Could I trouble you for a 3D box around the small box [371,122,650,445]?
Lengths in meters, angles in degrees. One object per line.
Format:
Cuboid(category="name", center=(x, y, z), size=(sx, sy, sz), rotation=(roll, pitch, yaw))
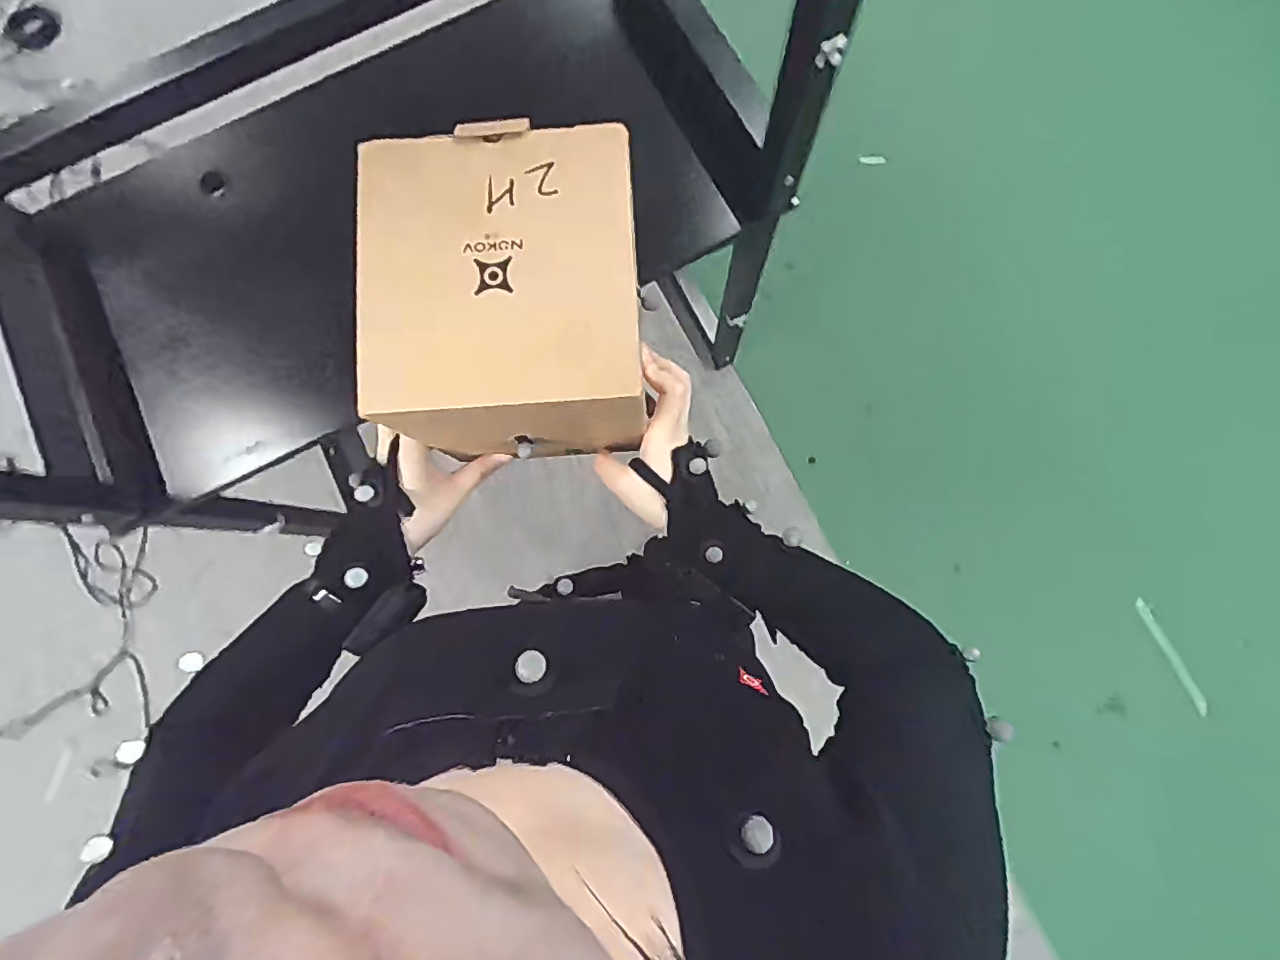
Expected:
Cuboid(category="small box", center=(-0.077, -0.123, 0.405), size=(0.168, 0.176, 0.179), rotation=(-2, 83, 0))
